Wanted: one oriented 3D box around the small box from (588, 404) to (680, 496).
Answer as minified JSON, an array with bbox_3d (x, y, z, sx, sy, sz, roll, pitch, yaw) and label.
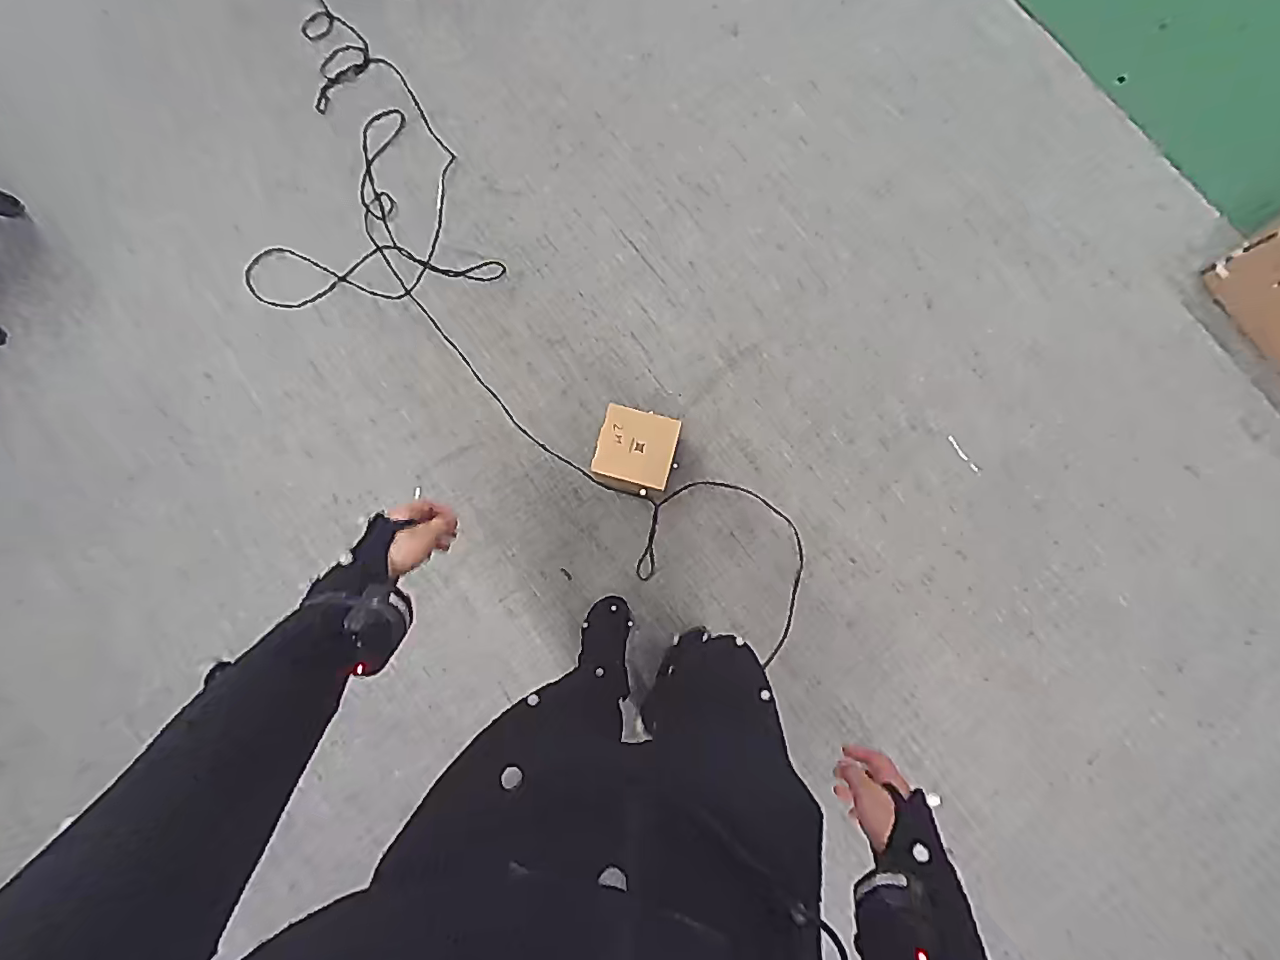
[{"bbox_3d":[-0.013,-0.063,1.295,0.179,0.176,0.168,15,81,3],"label":"small box"}]
